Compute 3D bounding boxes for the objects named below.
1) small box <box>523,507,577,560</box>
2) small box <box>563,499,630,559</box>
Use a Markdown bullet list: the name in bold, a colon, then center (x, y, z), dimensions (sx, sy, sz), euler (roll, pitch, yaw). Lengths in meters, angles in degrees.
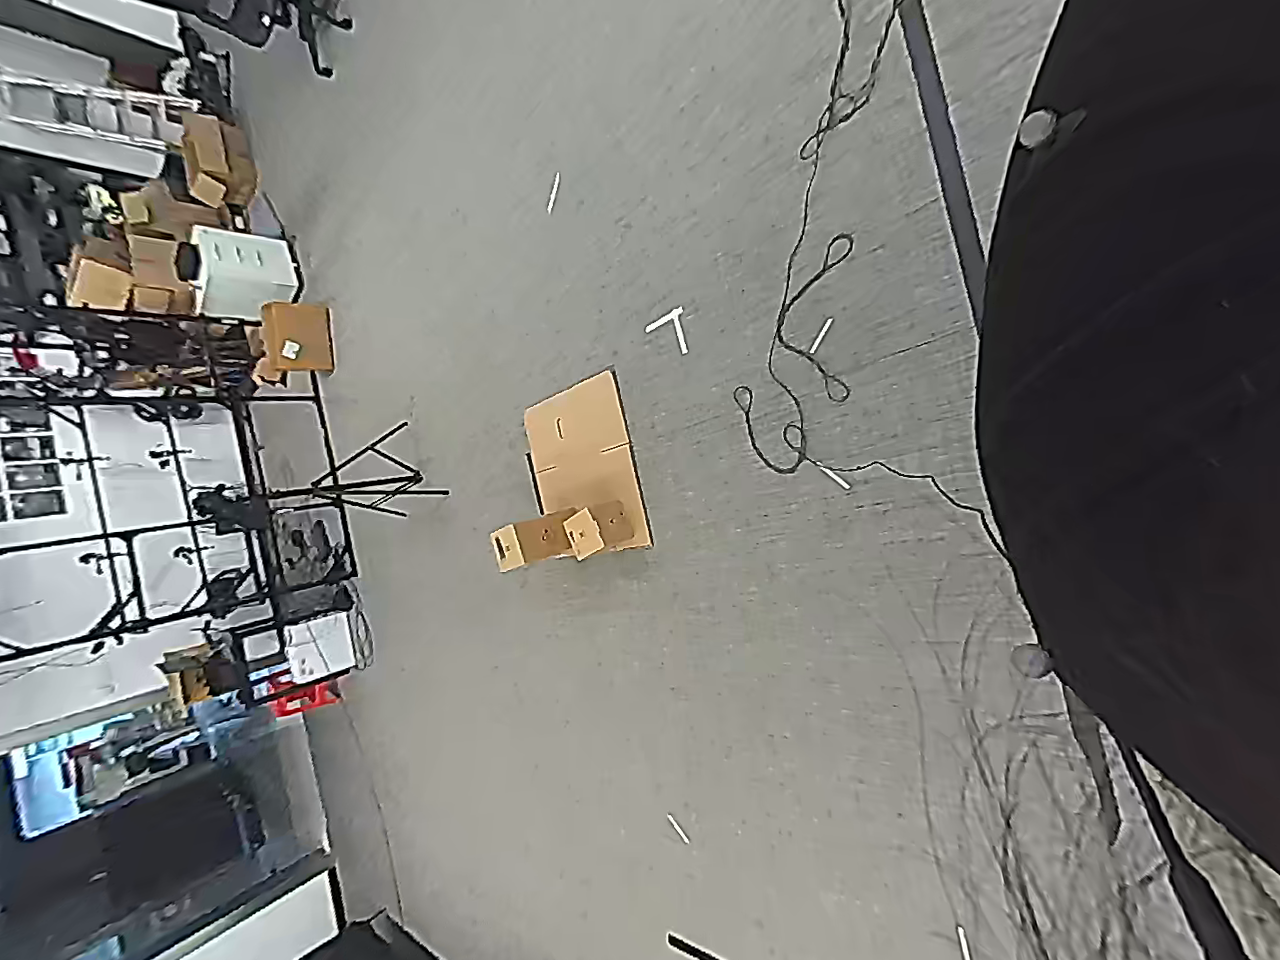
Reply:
- **small box**: center (-0.364, 0.224, 2.297), dimensions (0.179, 0.176, 0.168), euler (-27, 80, 41)
- **small box**: center (-0.162, 0.187, 2.104), dimensions (0.179, 0.176, 0.168), euler (-32, 76, 40)
